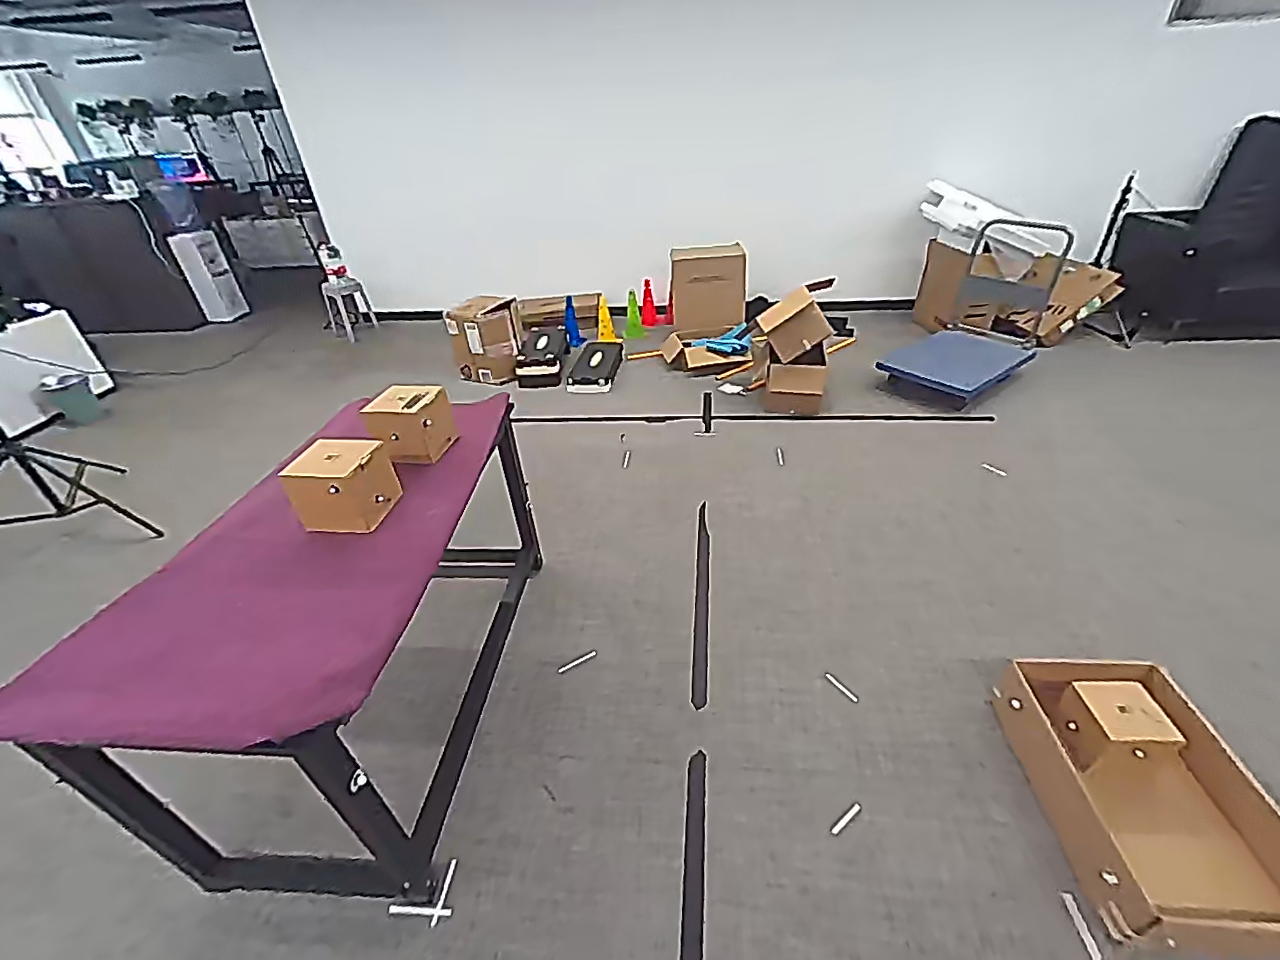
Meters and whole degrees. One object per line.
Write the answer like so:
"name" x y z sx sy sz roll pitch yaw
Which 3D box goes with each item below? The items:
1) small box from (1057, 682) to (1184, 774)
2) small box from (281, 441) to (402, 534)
"small box" 1.247 0.654 1.426 0.179 0.176 0.168 -1 36 4
"small box" -0.724 0.019 1.333 0.179 0.176 0.168 1 35 7
